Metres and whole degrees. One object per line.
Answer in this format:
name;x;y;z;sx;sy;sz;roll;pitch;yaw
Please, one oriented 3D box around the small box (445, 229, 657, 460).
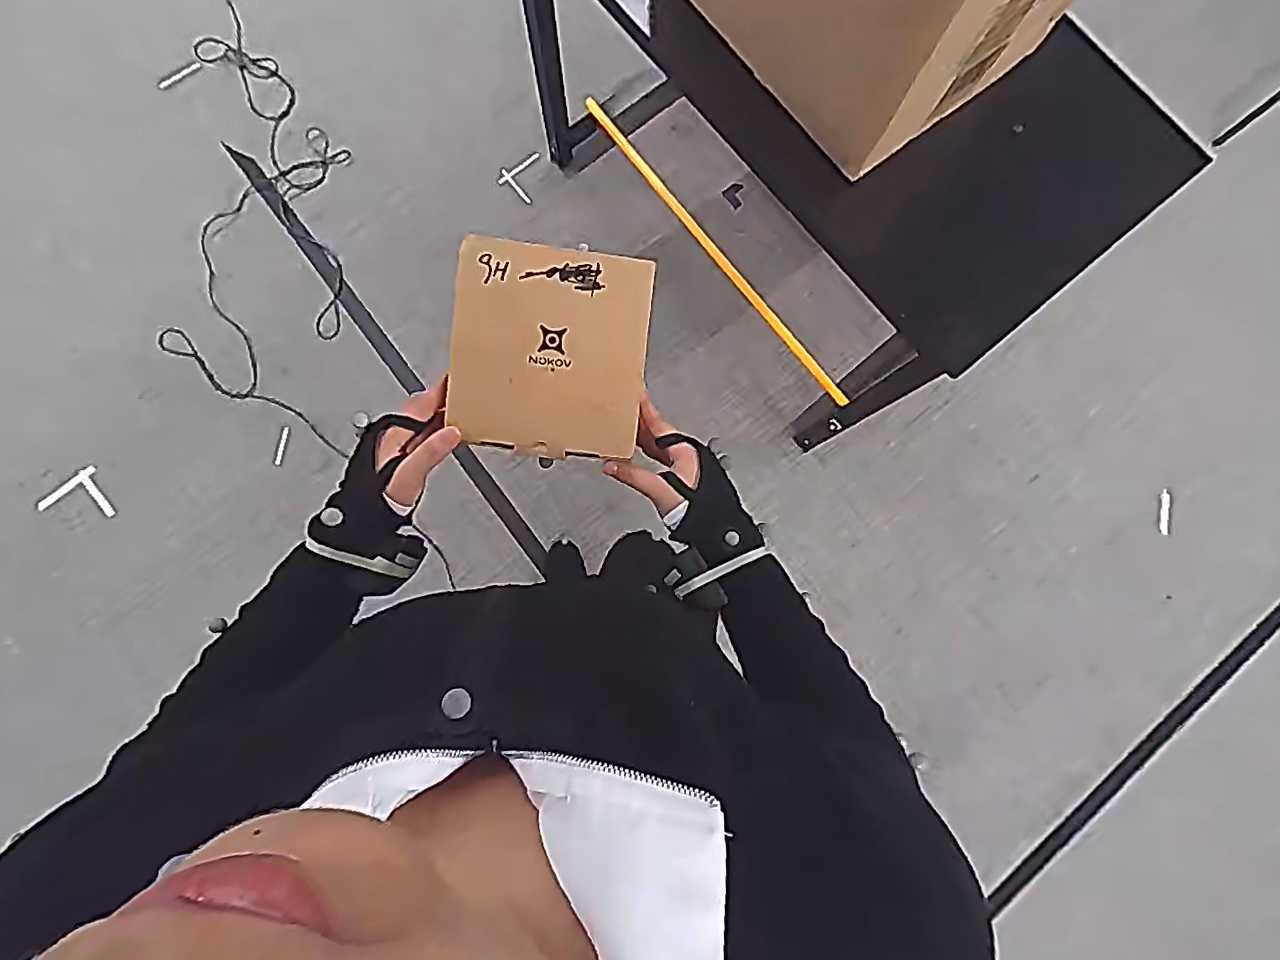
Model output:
small box;-0.082;-0.120;0.541;0.168;0.176;0.179;7;94;-6
